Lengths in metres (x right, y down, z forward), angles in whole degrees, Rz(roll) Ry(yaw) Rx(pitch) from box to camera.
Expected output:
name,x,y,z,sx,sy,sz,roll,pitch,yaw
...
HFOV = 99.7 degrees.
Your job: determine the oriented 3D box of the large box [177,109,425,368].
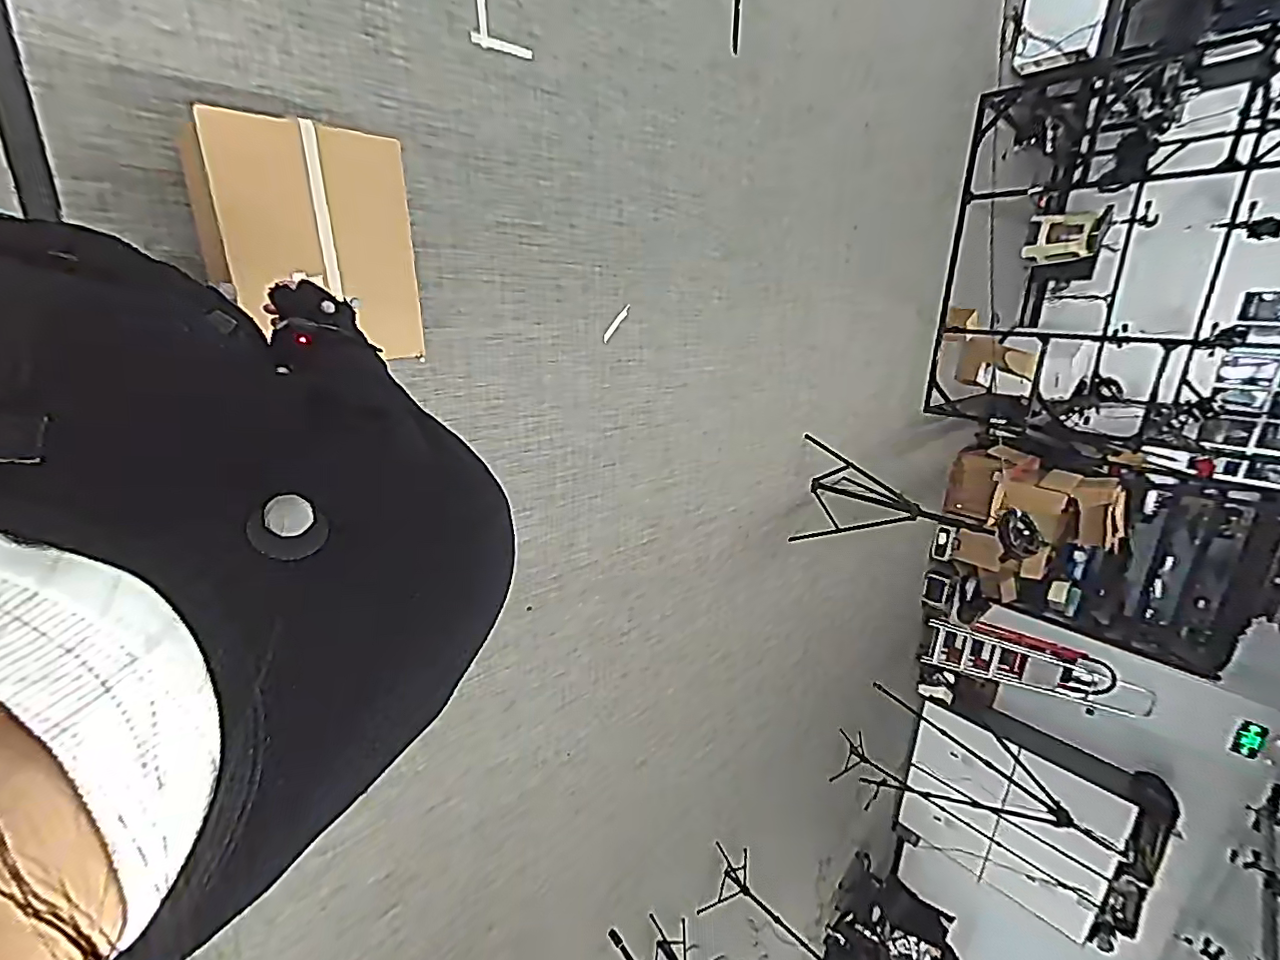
name,x,y,z,sx,sy,sz,roll,pitch,yaw
large box,-0.672,-0.459,1.091,0.320,0.320,0.408,-16,116,-39
